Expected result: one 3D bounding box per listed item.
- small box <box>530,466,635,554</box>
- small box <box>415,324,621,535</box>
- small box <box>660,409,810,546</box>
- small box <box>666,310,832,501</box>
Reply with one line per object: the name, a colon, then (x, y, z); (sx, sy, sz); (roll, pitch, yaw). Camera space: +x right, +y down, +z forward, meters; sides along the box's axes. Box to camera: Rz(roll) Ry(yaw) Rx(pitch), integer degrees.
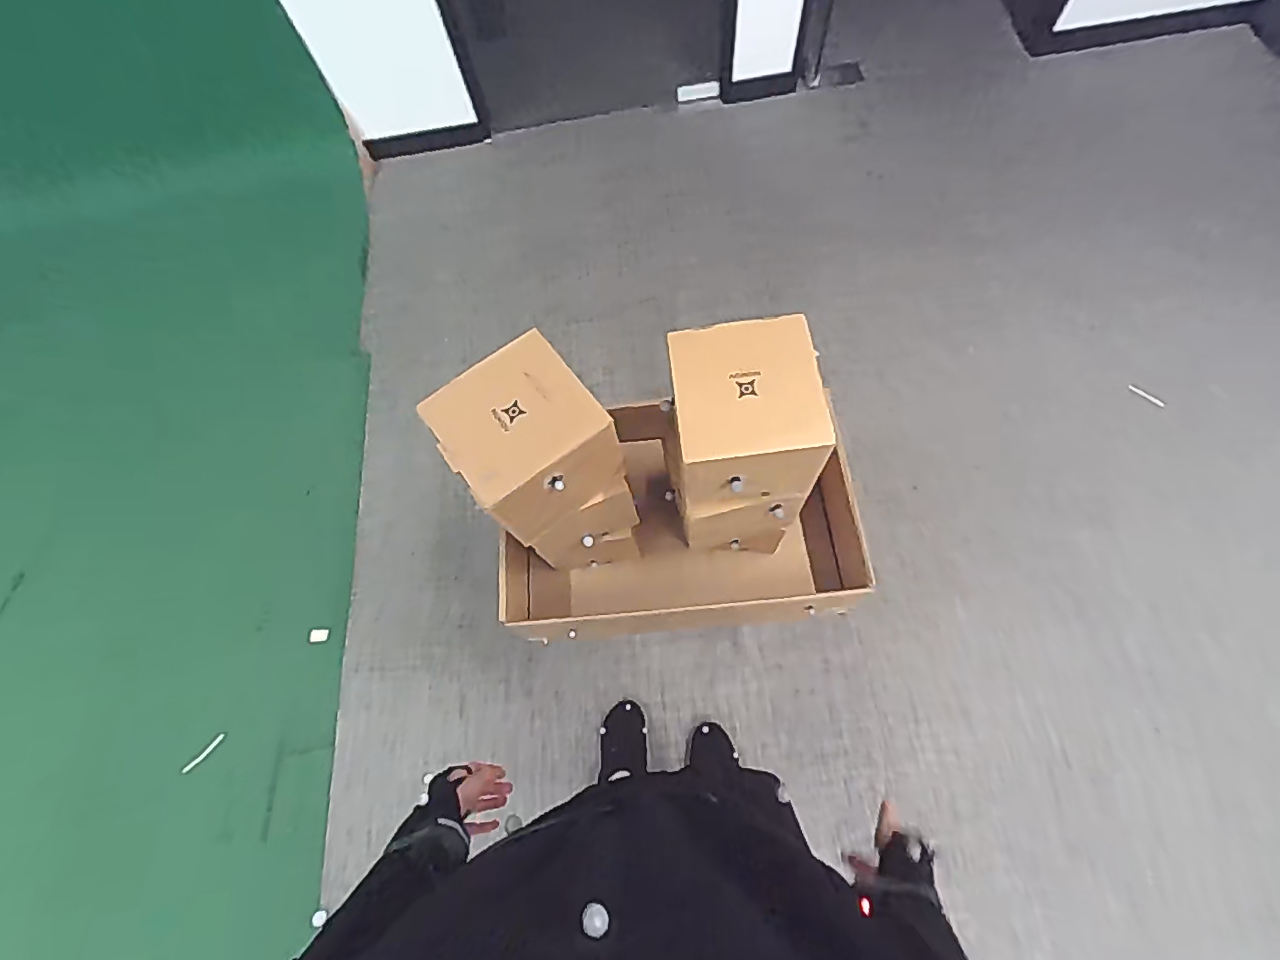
small box: (-0.117, -0.006, 0.844); (0.168, 0.176, 0.179); (-22, 69, -3)
small box: (-0.141, -0.053, 0.689); (0.179, 0.176, 0.168); (-35, 71, -9)
small box: (0.134, -0.013, 0.825); (0.179, 0.176, 0.168); (-14, 66, 0)
small box: (0.126, -0.081, 0.678); (0.168, 0.176, 0.179); (-7, 67, 4)
